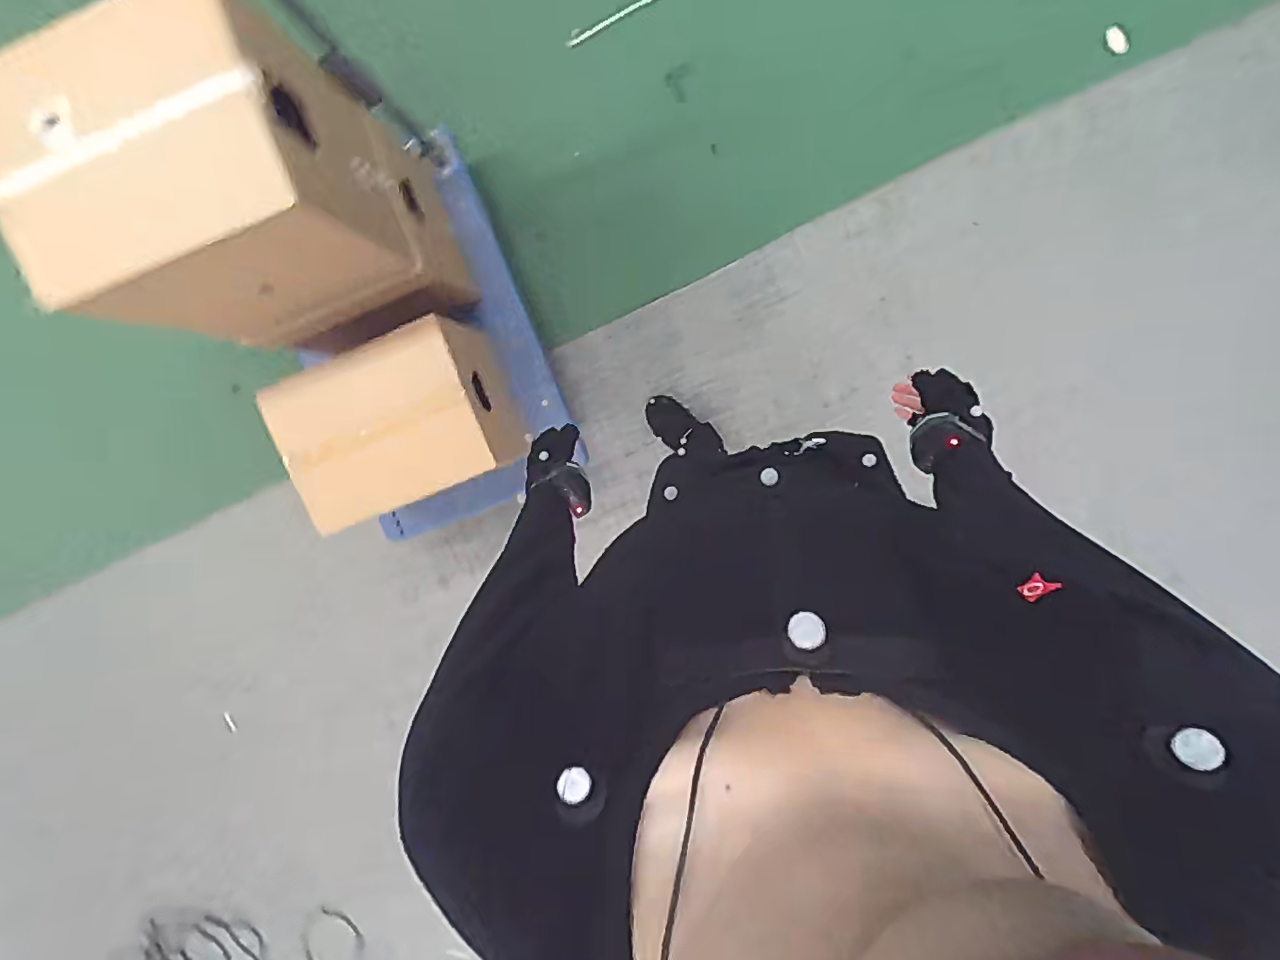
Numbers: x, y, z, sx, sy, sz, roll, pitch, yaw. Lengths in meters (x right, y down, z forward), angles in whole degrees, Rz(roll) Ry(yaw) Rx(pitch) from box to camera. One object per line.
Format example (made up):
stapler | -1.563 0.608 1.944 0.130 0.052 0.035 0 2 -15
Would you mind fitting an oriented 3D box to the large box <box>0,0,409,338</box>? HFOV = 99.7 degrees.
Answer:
large box | -0.659 -0.449 0.838 0.408 0.320 0.320 -19 95 8
